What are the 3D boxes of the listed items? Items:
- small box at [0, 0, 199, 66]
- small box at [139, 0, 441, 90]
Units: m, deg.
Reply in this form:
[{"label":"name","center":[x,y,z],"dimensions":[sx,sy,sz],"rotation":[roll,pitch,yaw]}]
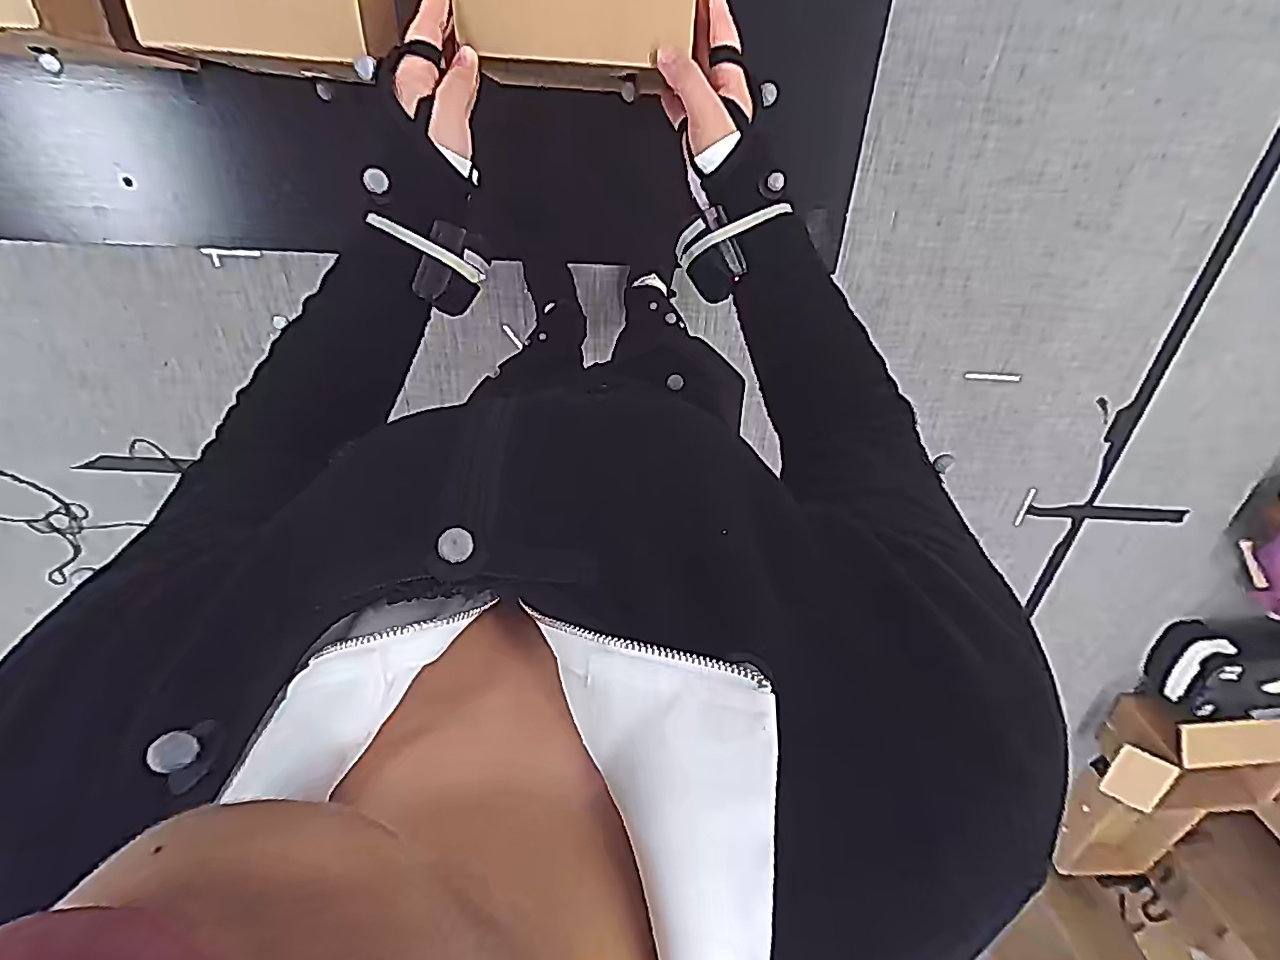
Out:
[{"label":"small box","center":[-0.497,-0.440,0.415],"dimensions":[0.168,0.176,0.179],"rotation":[3,121,-2]},{"label":"small box","center":[-0.272,-0.431,0.428],"dimensions":[0.168,0.176,0.179],"rotation":[3,121,-1]}]
